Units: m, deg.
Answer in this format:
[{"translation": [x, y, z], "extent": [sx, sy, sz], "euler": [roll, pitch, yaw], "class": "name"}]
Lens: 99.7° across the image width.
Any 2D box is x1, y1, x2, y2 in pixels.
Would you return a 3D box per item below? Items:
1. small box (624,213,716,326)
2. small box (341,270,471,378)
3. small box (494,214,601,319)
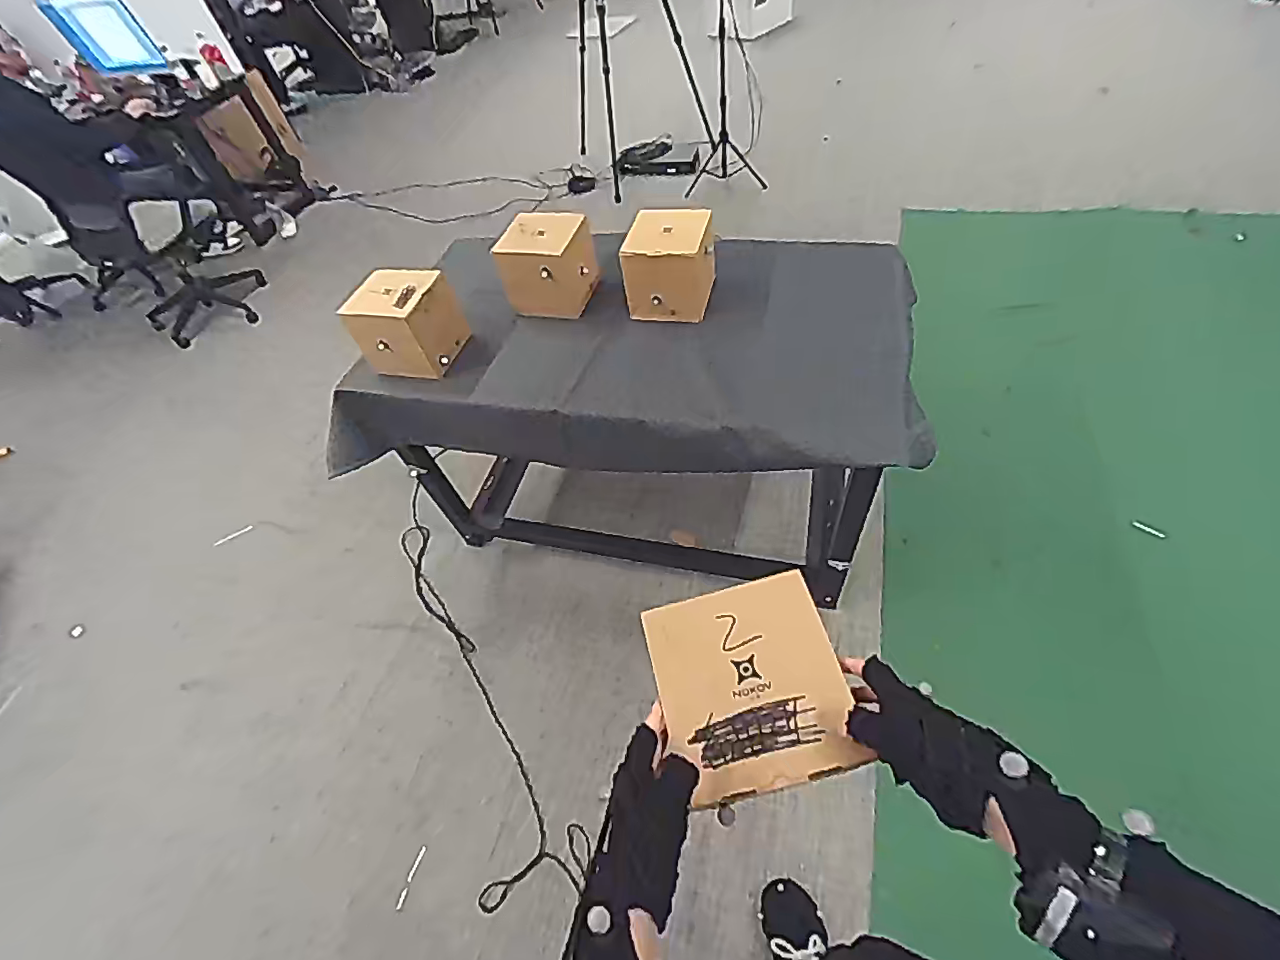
[{"translation": [0.074, -0.471, 1.208], "extent": [0.168, 0.176, 0.179], "euler": [8, 55, 15], "class": "small box"}, {"translation": [-0.510, -0.346, 1.208], "extent": [0.179, 0.176, 0.168], "euler": [8, 54, 16], "class": "small box"}, {"translation": [-0.207, -0.498, 1.272], "extent": [0.179, 0.176, 0.168], "euler": [9, 56, 16], "class": "small box"}]
